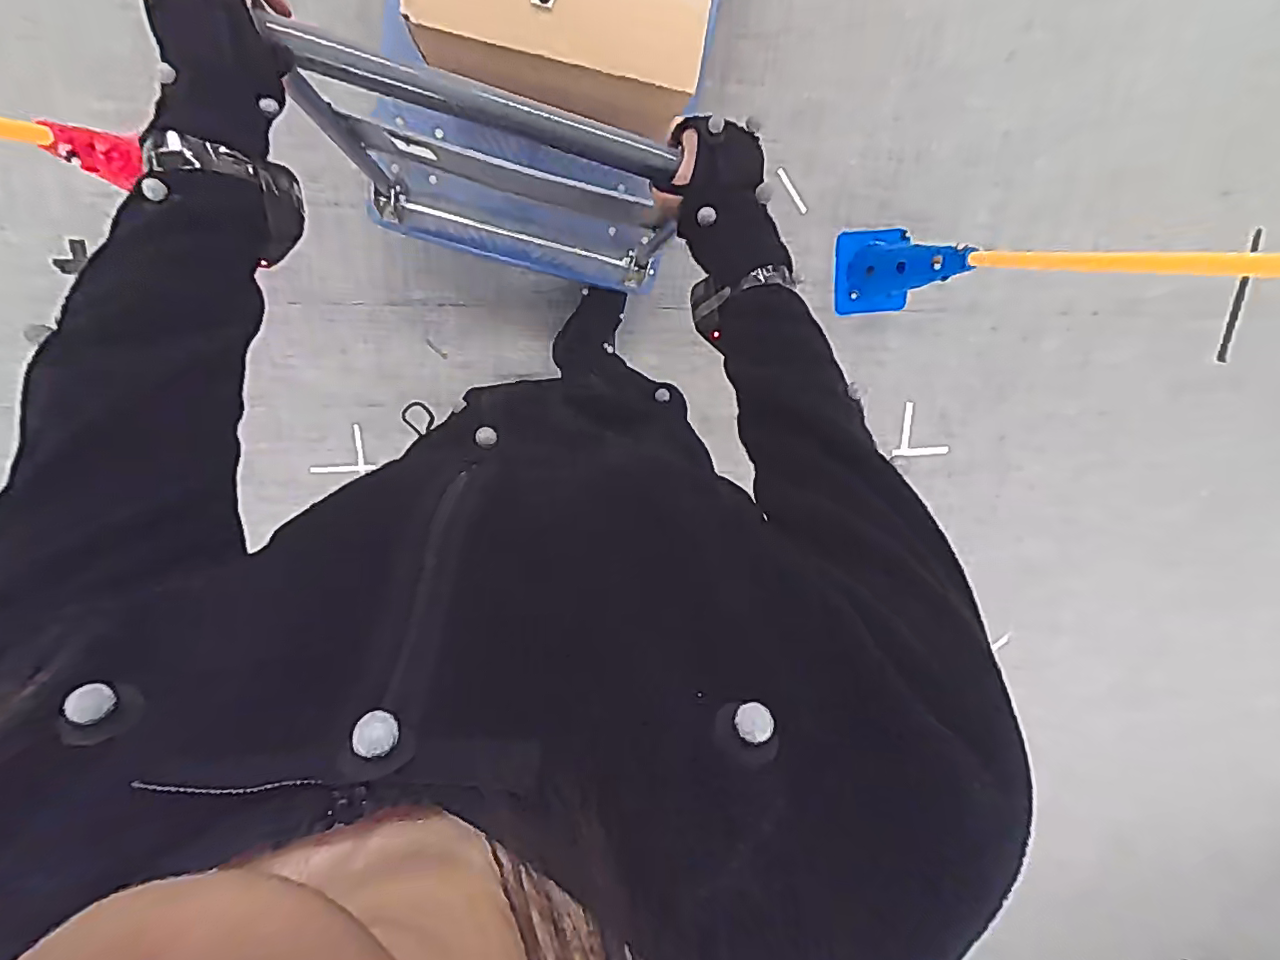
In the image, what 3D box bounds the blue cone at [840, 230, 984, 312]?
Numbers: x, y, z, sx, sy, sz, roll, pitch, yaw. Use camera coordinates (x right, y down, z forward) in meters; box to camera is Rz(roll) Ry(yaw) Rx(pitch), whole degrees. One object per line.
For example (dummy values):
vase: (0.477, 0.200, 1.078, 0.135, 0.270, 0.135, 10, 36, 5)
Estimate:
blue cone: (0.623, -0.488, 1.224, 0.193, 0.380, 0.192, -5, 106, -8)
